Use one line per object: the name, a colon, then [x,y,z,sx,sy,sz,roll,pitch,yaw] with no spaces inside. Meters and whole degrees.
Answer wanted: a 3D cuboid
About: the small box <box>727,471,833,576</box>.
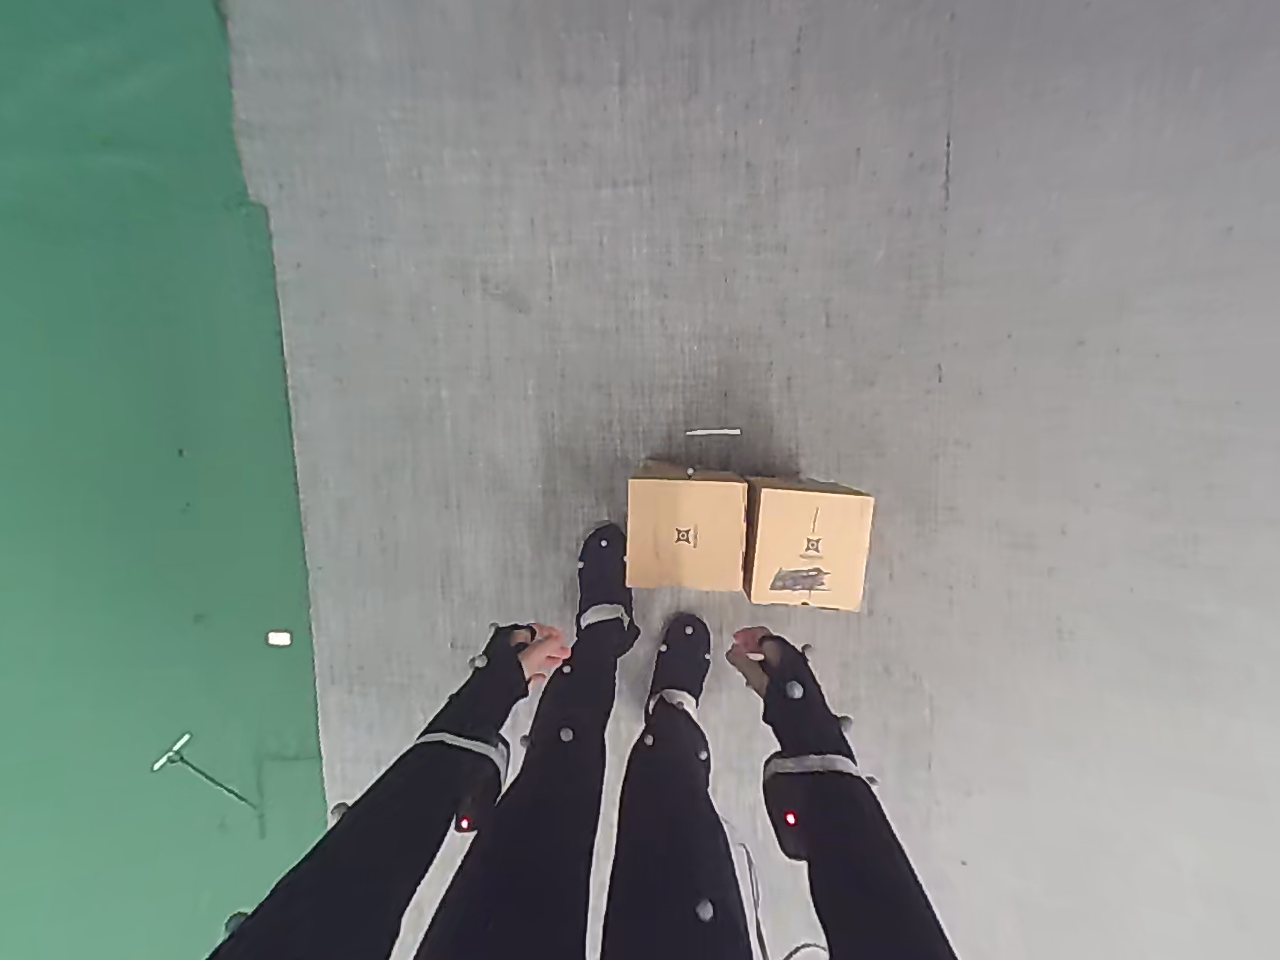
small box: [0.258,0.076,1.033,0.168,0.176,0.179,-1,98,2]
